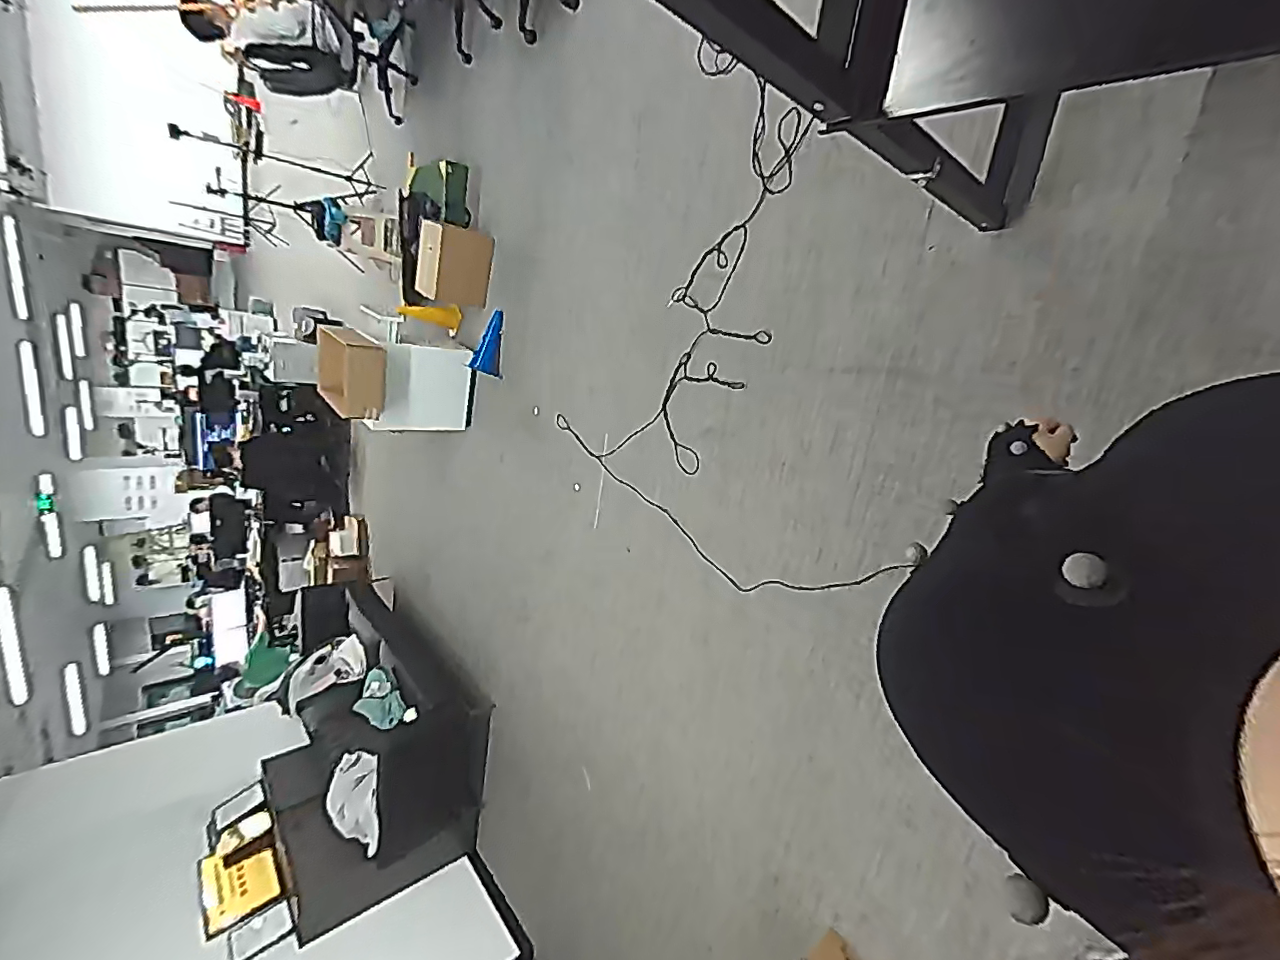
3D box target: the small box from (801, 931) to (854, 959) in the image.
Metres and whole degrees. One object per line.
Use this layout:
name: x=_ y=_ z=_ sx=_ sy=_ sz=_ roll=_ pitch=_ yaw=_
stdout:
small box: x=0.579 y=1.576 z=1.685 sx=0.168 sy=0.176 sz=0.179 roll=36 pitch=119 yaw=40
